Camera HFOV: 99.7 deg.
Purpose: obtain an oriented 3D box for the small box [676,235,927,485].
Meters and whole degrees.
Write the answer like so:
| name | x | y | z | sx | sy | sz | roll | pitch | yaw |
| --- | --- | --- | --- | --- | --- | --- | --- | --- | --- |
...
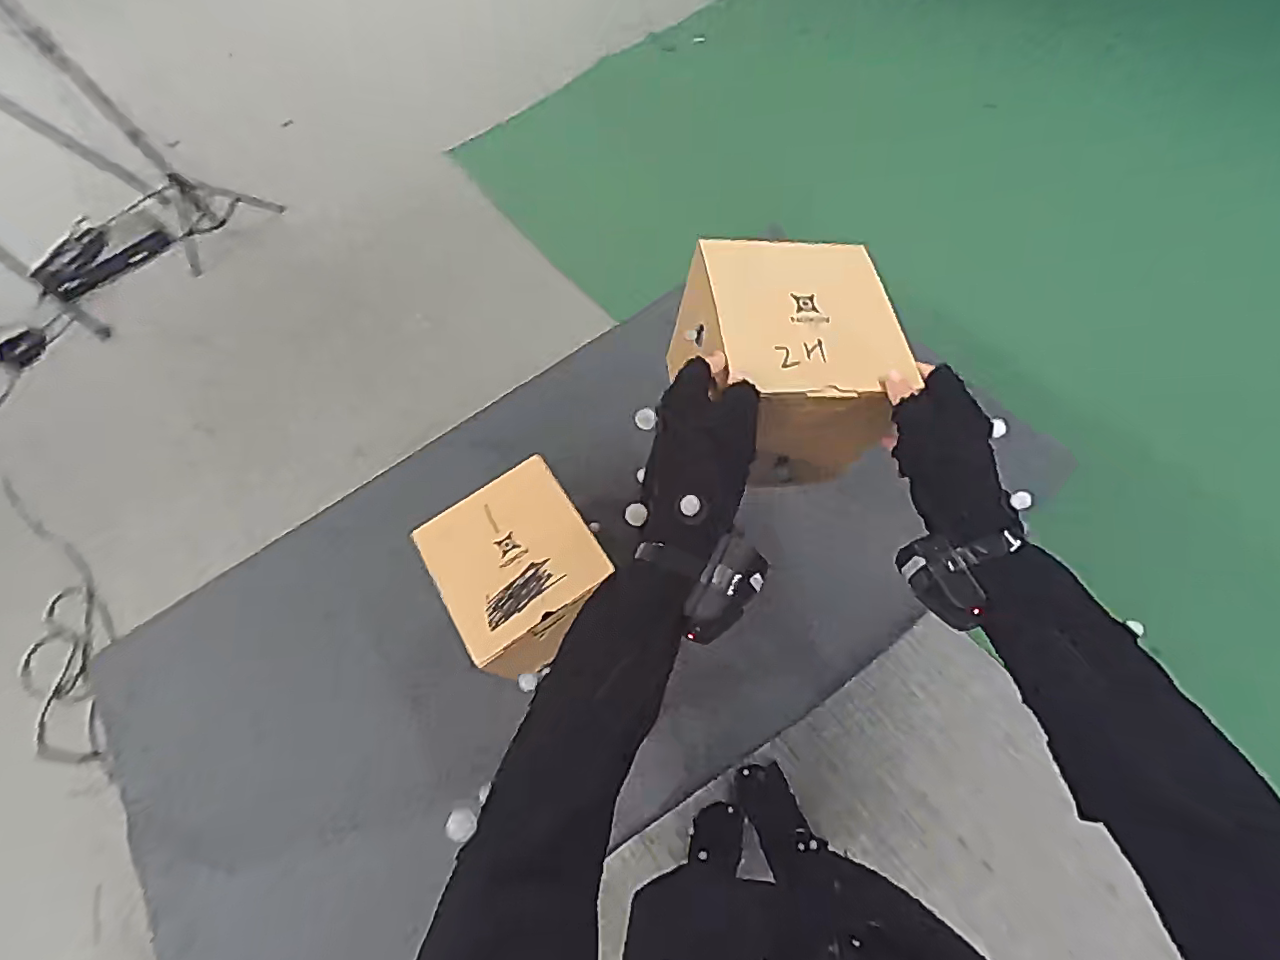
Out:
| name | x | y | z | sx | sy | sz | roll | pitch | yaw |
| --- | --- | --- | --- | --- | --- | --- | --- | --- | --- |
| small box | 0.135 | -0.109 | 0.531 | 0.168 | 0.176 | 0.179 | -2 | 64 | -8 |

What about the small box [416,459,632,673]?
| name | x | y | z | sx | sy | sz | roll | pitch | yaw |
| --- | --- | --- | --- | --- | --- | --- | --- | --- | --- |
| small box | -0.126 | 0.113 | 0.649 | 0.168 | 0.176 | 0.179 | -34 | 64 | -9 |
